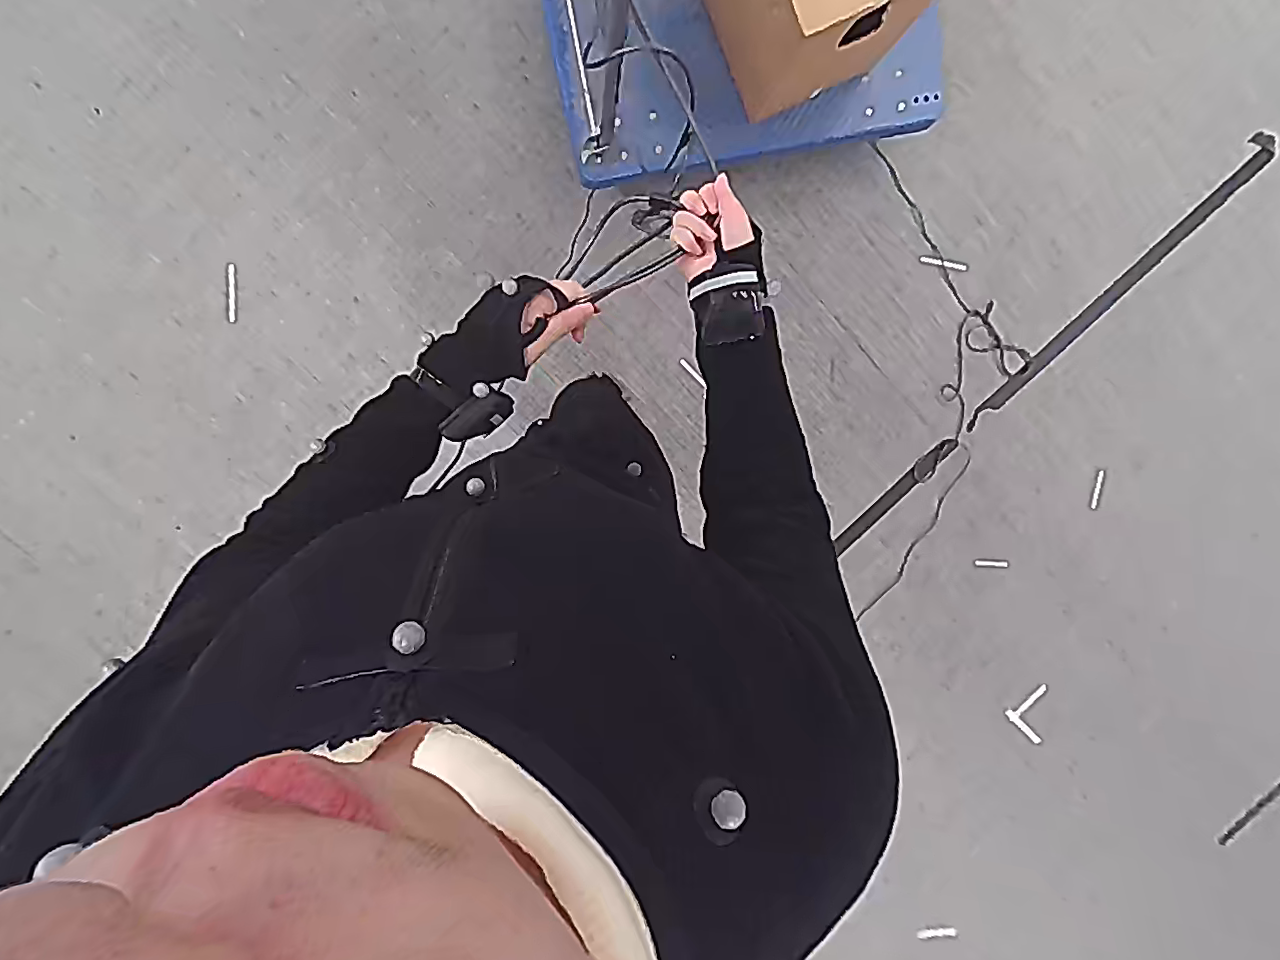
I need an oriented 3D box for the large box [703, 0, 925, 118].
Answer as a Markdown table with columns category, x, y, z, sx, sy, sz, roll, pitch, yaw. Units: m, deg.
| category | x | y | z | sx | sy | sz | roll | pitch | yaw |
| --- | --- | --- | --- | --- | --- | --- | --- | --- | --- |
| large box | 0.315 | -1.028 | 1.041 | 0.320 | 0.320 | 0.408 | -26 | 101 | -1 |
